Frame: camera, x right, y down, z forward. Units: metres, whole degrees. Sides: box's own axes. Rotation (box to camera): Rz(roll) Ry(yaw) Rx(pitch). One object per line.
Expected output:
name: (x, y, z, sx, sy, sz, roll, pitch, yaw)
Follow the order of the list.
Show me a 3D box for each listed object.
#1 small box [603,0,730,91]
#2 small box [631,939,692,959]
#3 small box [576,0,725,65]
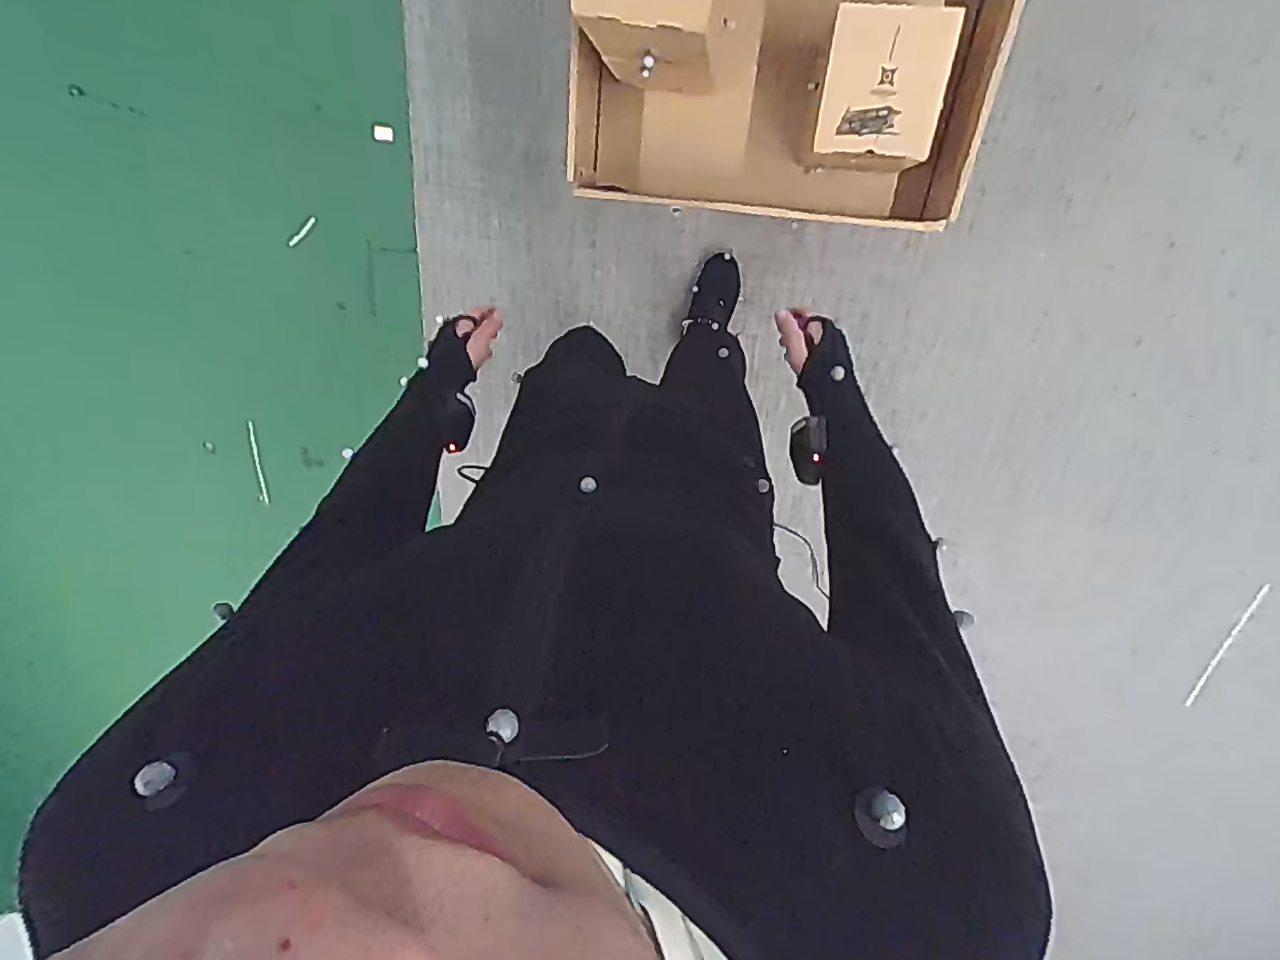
small box: (0.047, -0.715, 0.809, 0.168, 0.176, 0.179, 10, 115, 4)
small box: (0.048, 1.371, 1.430, 0.168, 0.176, 0.179, 5, 114, 6)
small box: (0.026, -0.647, 0.661, 0.168, 0.176, 0.179, 12, 116, 4)
